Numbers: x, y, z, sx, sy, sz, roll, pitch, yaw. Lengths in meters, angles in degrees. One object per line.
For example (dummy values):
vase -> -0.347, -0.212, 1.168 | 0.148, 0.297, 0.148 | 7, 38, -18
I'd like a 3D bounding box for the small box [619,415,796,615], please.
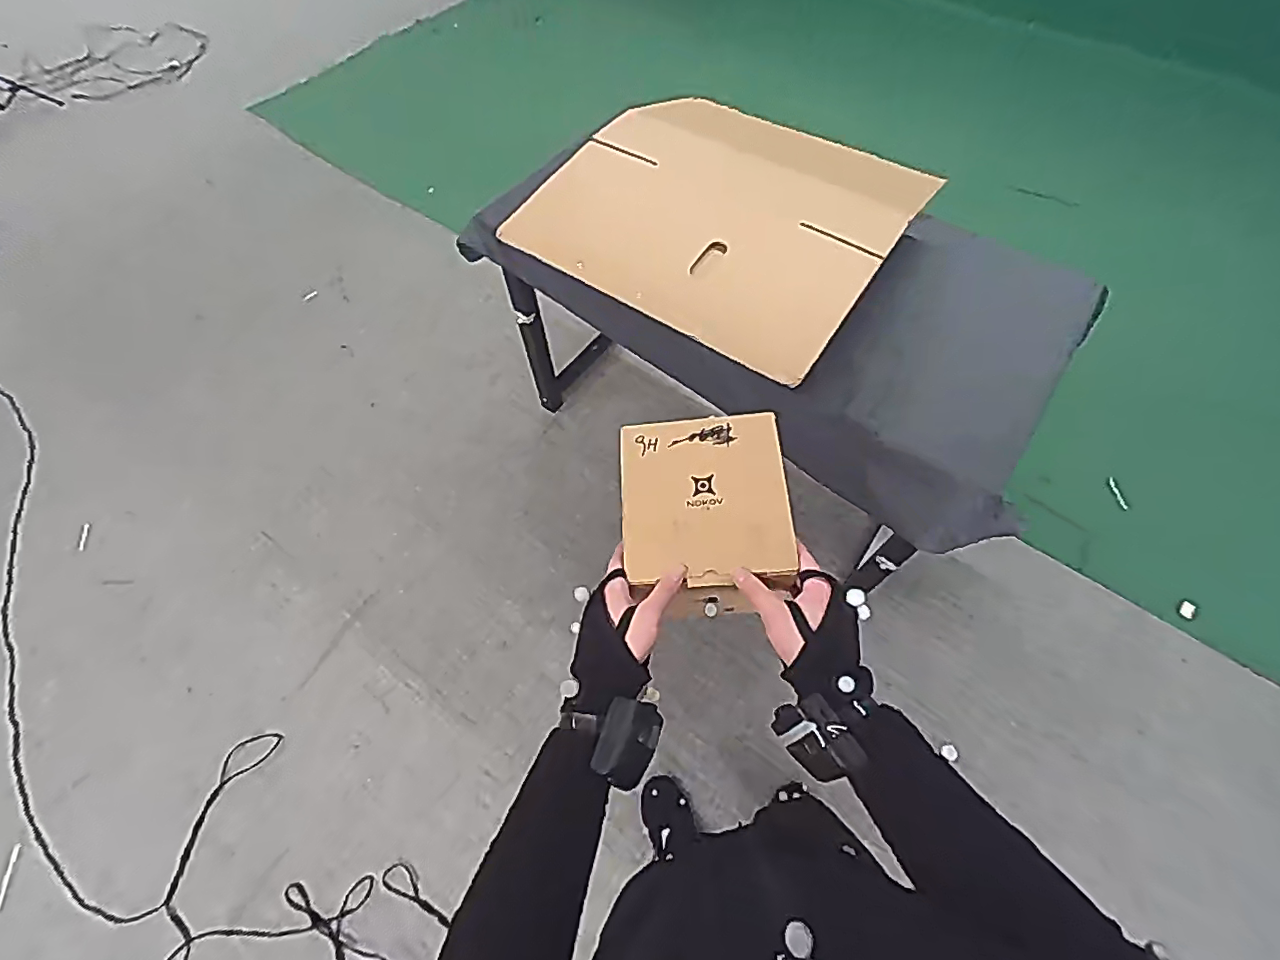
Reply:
small box -> 0.074, 0.052, 0.619 | 0.168, 0.176, 0.179 | -7, 63, 5
